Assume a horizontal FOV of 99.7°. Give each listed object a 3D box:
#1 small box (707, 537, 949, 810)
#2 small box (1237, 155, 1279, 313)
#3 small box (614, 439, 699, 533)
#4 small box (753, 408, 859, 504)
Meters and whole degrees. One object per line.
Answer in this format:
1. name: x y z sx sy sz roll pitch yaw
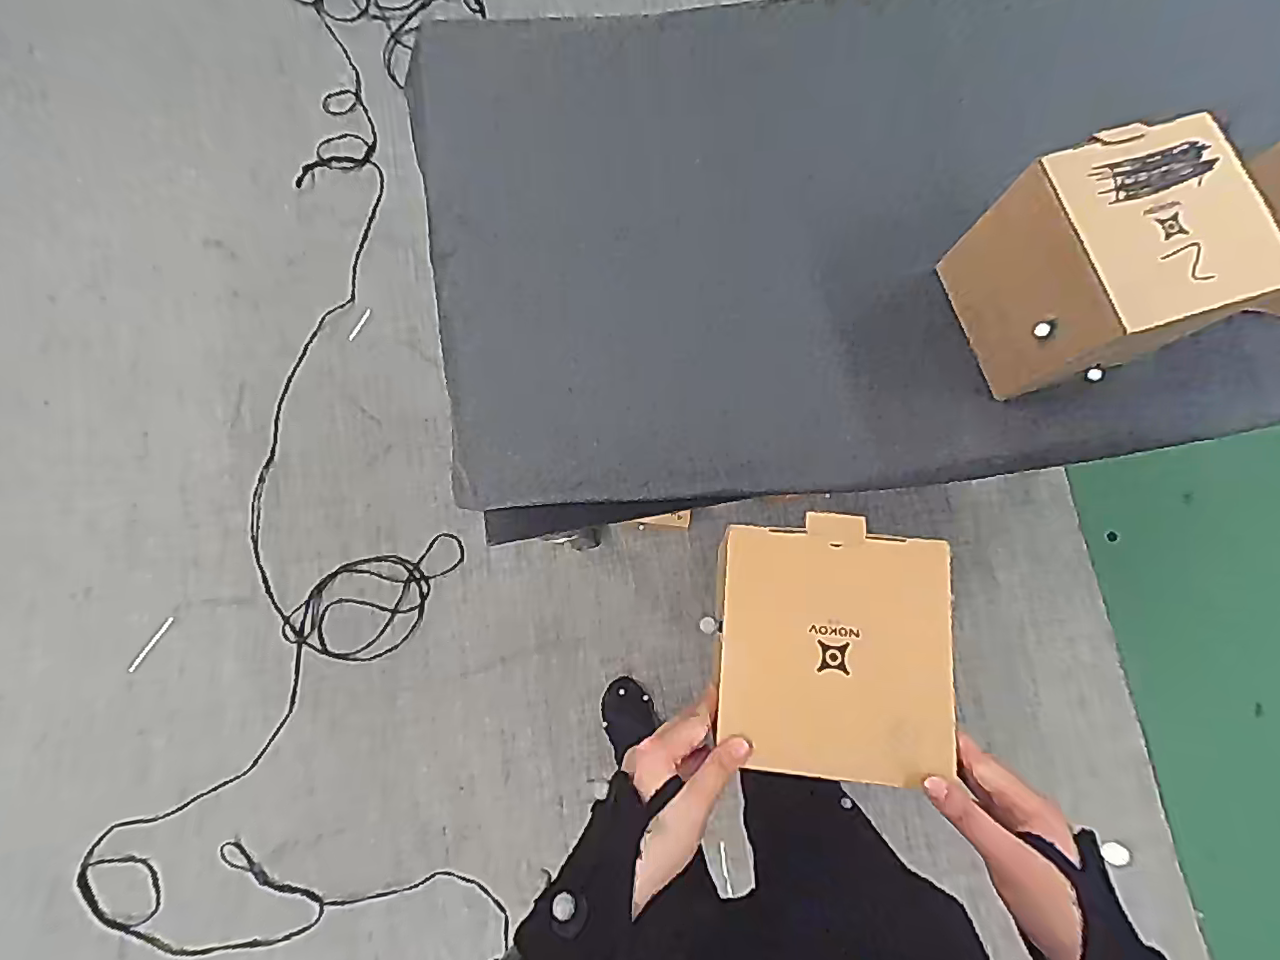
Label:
1. small box: 0.147 0.153 0.472 0.168 0.176 0.179 4 76 7
2. small box: 0.766 -0.270 0.541 0.168 0.176 0.179 11 78 1
3. small box: 0.036 0.019 1.234 0.168 0.176 0.179 7 80 1
4. small box: 0.373 -0.046 1.245 0.168 0.176 0.179 -12 80 -3
